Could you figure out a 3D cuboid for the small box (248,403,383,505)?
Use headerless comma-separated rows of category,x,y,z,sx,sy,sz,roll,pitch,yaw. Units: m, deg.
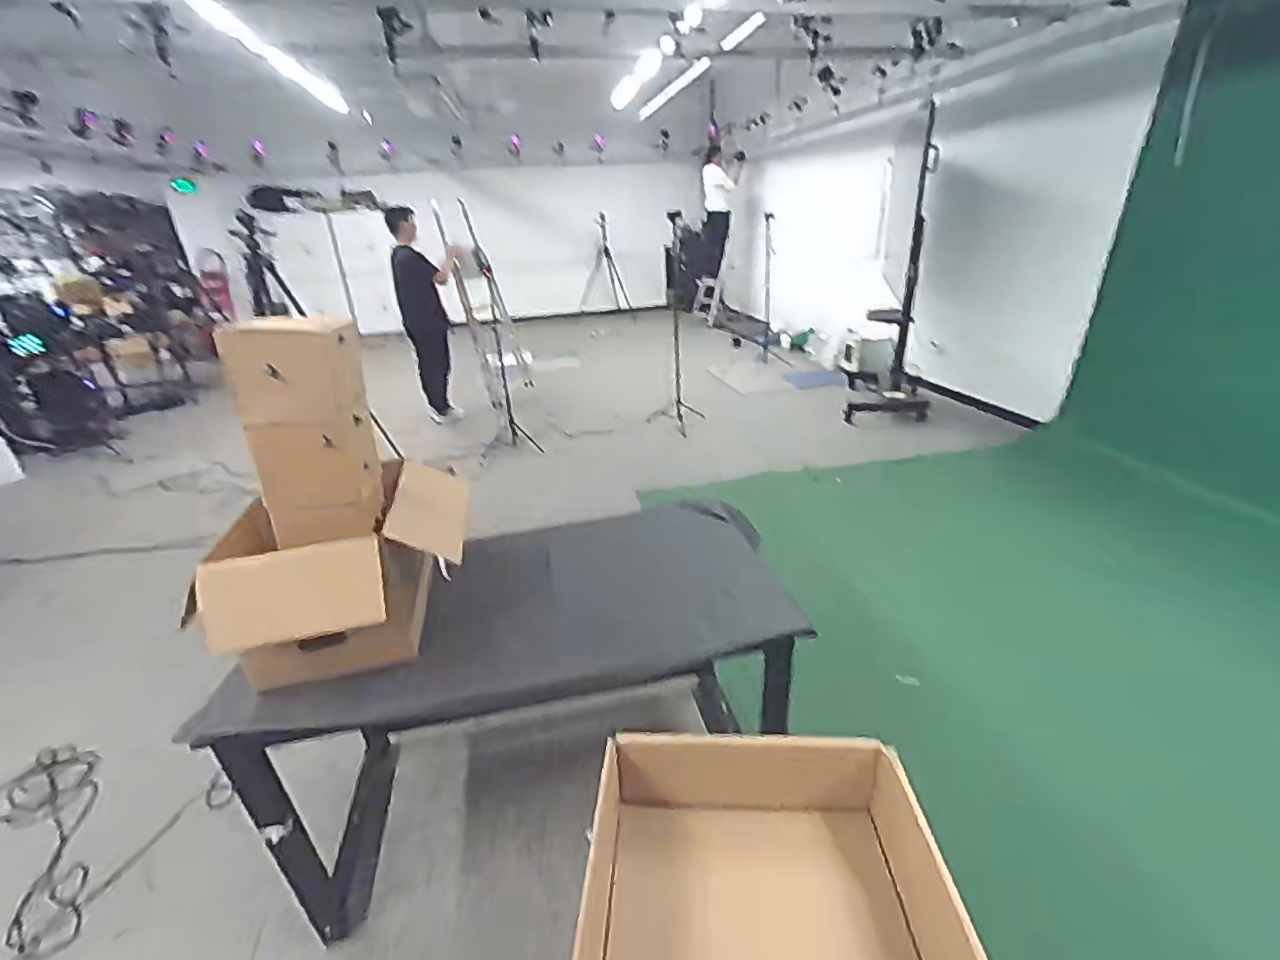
small box,-0.637,-0.055,1.085,0.179,0.176,0.168,-2,24,-11

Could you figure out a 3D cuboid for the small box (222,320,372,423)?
small box,-0.633,-0.207,1.023,0.179,0.176,0.168,-2,24,-9
